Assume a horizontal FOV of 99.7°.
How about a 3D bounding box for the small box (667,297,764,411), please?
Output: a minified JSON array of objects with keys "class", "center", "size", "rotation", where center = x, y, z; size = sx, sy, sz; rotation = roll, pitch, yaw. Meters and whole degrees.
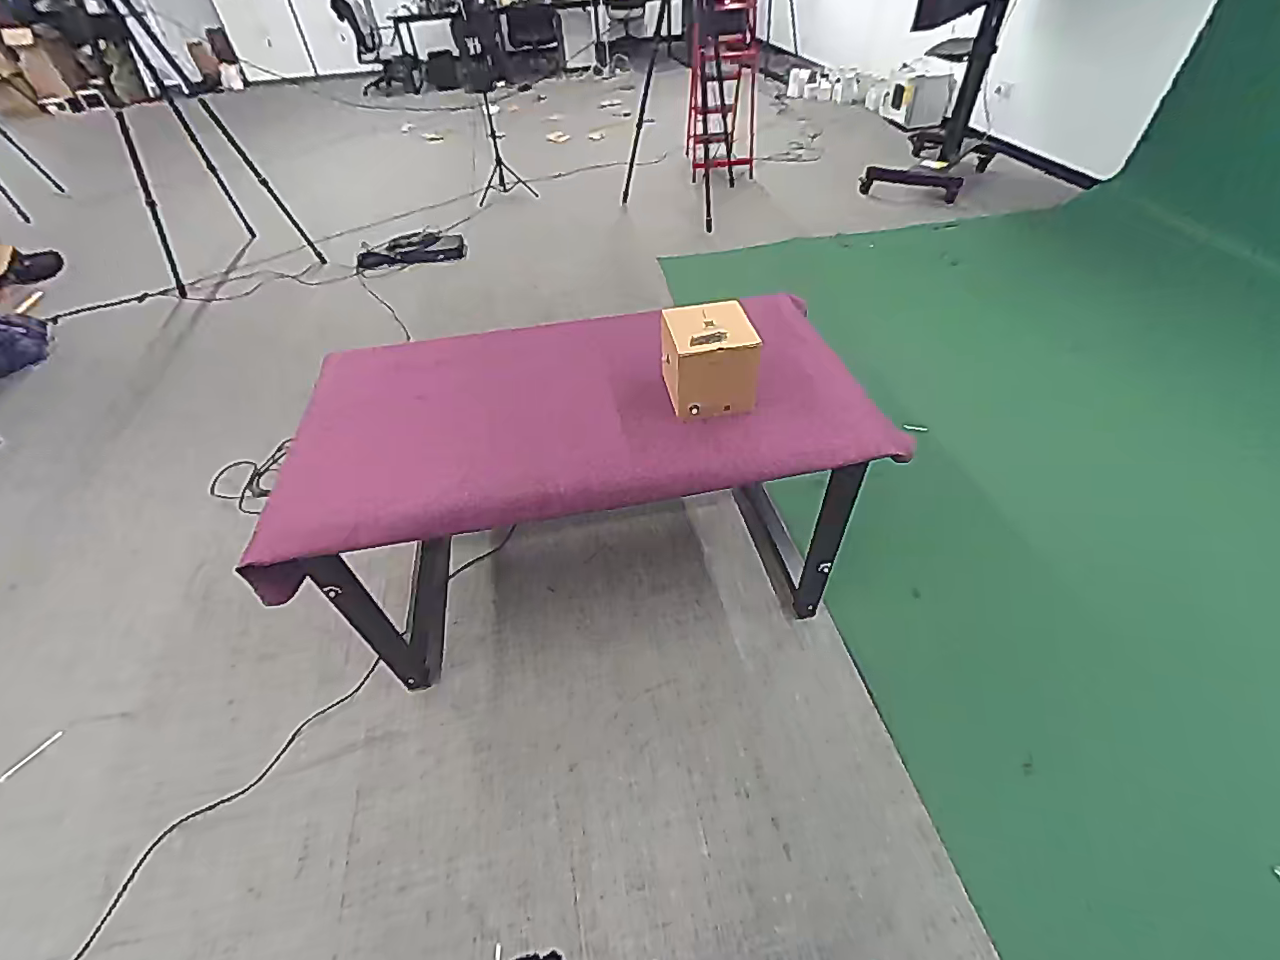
[{"class":"small box","center":[0.149,-0.256,1.127],"size":[0.168,0.176,0.179],"rotation":[-5,47,-3]}]
